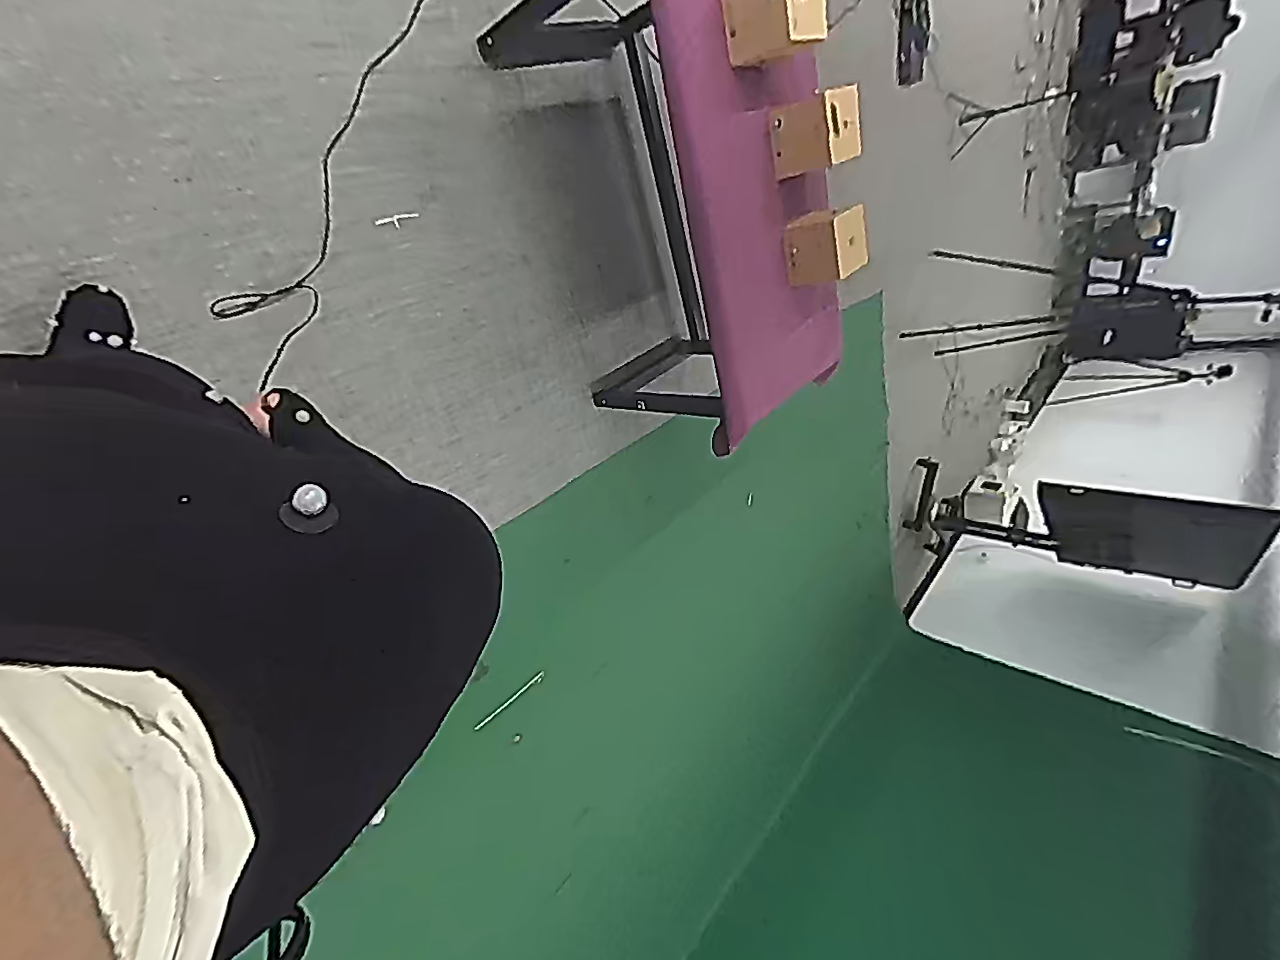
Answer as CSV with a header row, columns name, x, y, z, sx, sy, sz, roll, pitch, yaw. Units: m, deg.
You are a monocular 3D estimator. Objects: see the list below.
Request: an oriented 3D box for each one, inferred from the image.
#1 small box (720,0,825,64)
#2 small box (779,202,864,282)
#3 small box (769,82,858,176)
name,x,y,z,sx,sy,sz,roll,pitch,yaw
small box,0.307,-1.098,1.257,0.179,0.176,0.168,-36,121,-34
small box,0.531,-0.693,1.582,0.179,0.176,0.168,-37,122,-32
small box,0.461,-0.937,1.452,0.179,0.176,0.168,-38,124,-34
